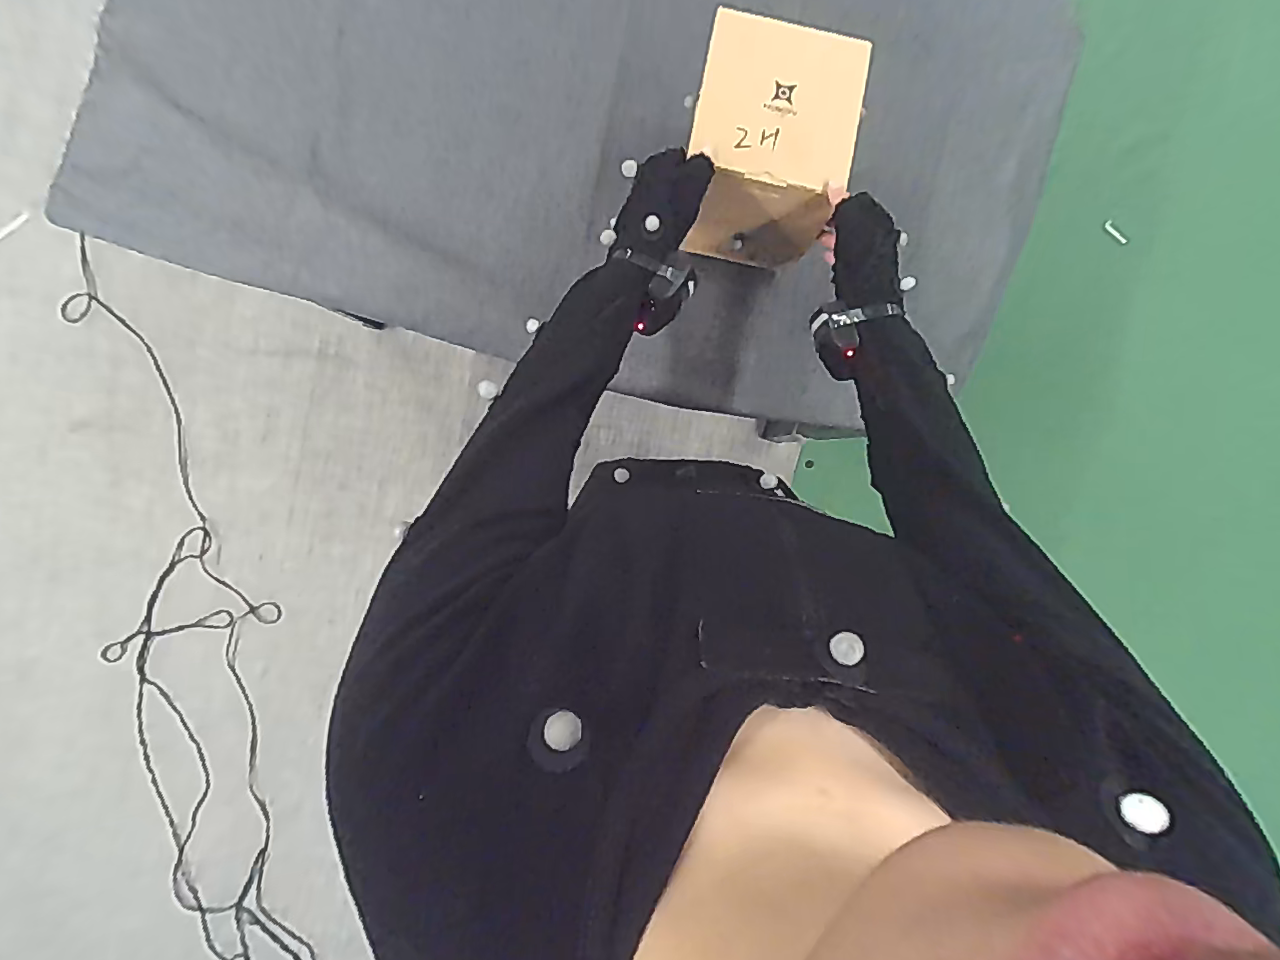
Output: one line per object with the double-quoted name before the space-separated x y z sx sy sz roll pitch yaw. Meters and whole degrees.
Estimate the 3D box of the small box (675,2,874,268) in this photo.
"small box" 0.141 -0.379 0.624 0.168 0.176 0.179 12 84 -1
